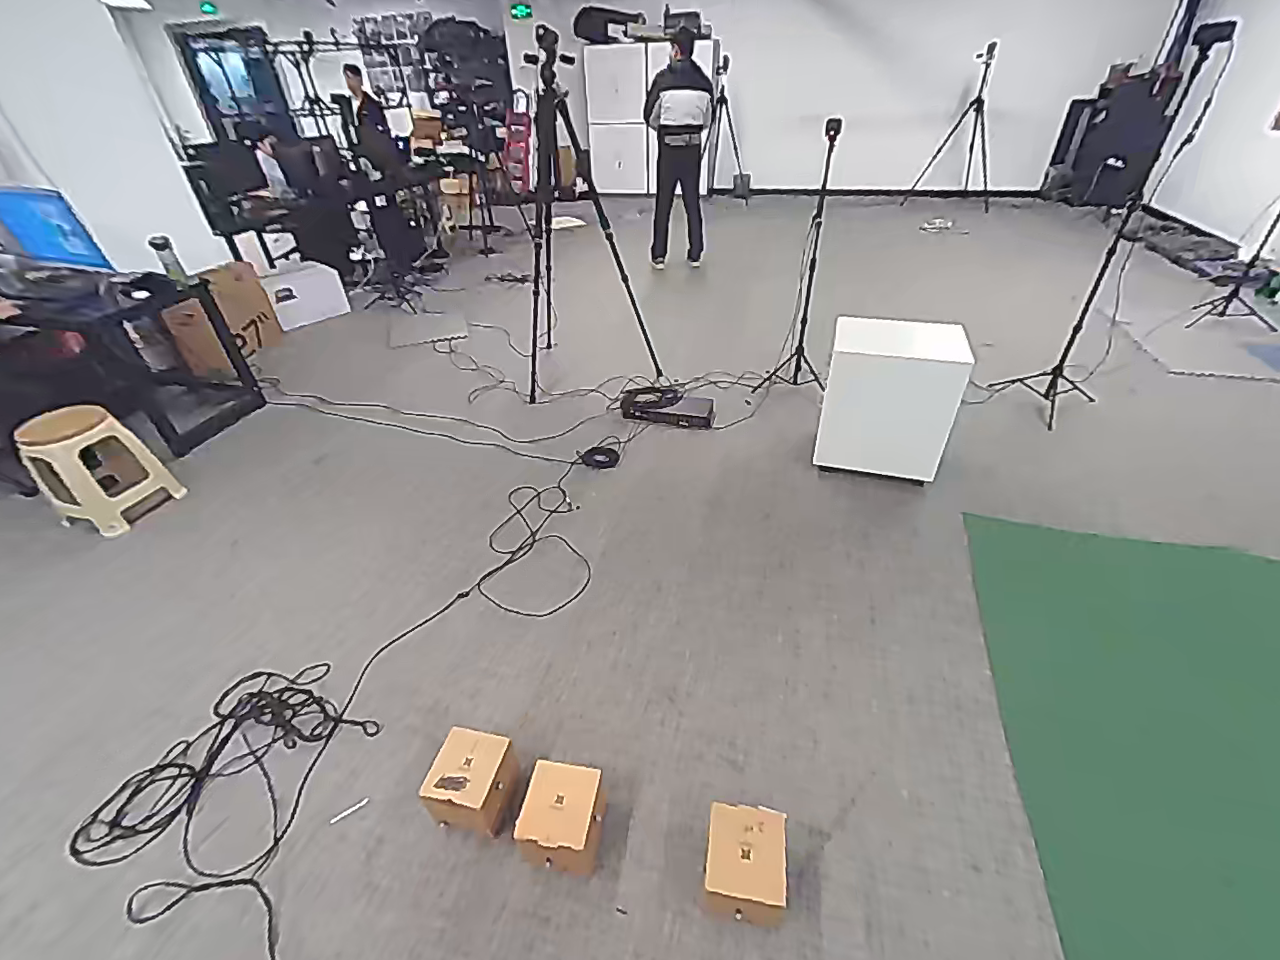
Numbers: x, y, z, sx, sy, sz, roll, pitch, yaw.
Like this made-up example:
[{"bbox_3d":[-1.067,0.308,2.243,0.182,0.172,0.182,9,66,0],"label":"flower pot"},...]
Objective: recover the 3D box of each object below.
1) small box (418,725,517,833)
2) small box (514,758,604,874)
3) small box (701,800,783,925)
[{"bbox_3d":[-0.427,0.761,1.374,0.168,0.176,0.179,6,37,11],"label":"small box"},{"bbox_3d":[-0.186,0.807,1.302,0.168,0.176,0.179,4,39,9],"label":"small box"},{"bbox_3d":[0.228,0.859,1.211,0.168,0.176,0.179,6,38,9],"label":"small box"}]
